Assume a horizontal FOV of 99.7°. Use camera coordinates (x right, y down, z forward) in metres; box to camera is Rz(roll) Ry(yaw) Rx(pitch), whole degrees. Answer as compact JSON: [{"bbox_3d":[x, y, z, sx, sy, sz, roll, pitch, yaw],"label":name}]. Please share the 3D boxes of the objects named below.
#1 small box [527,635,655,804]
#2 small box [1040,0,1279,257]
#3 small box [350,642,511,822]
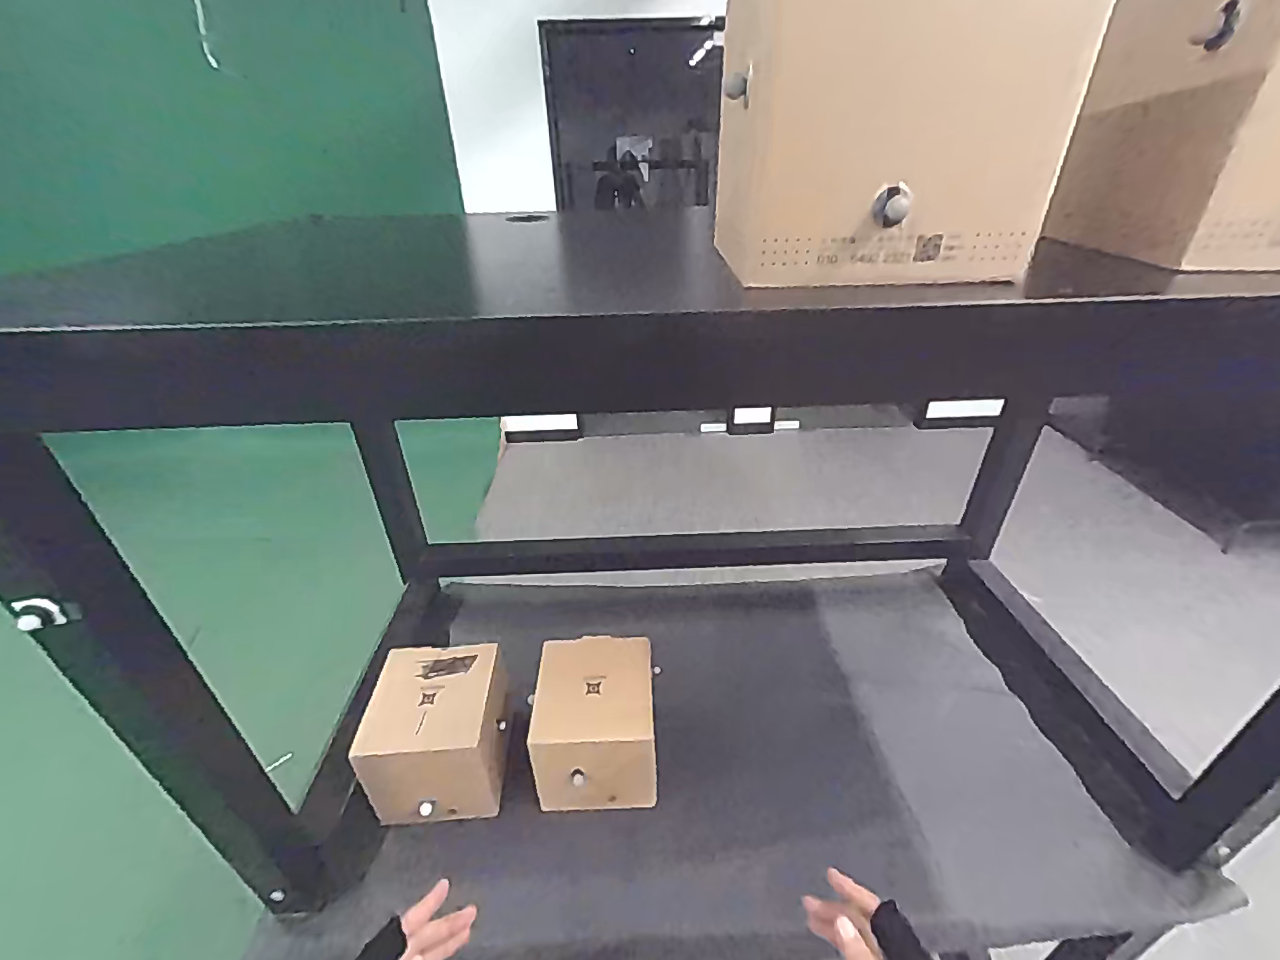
[{"bbox_3d":[-0.063,0.357,0.804,0.168,0.176,0.179,-2,30,-1],"label":"small box"},{"bbox_3d":[0.415,-0.246,0.357,0.168,0.176,0.179,3,31,7],"label":"small box"},{"bbox_3d":[-0.290,0.366,0.795,0.168,0.176,0.179,-3,31,-2],"label":"small box"}]
